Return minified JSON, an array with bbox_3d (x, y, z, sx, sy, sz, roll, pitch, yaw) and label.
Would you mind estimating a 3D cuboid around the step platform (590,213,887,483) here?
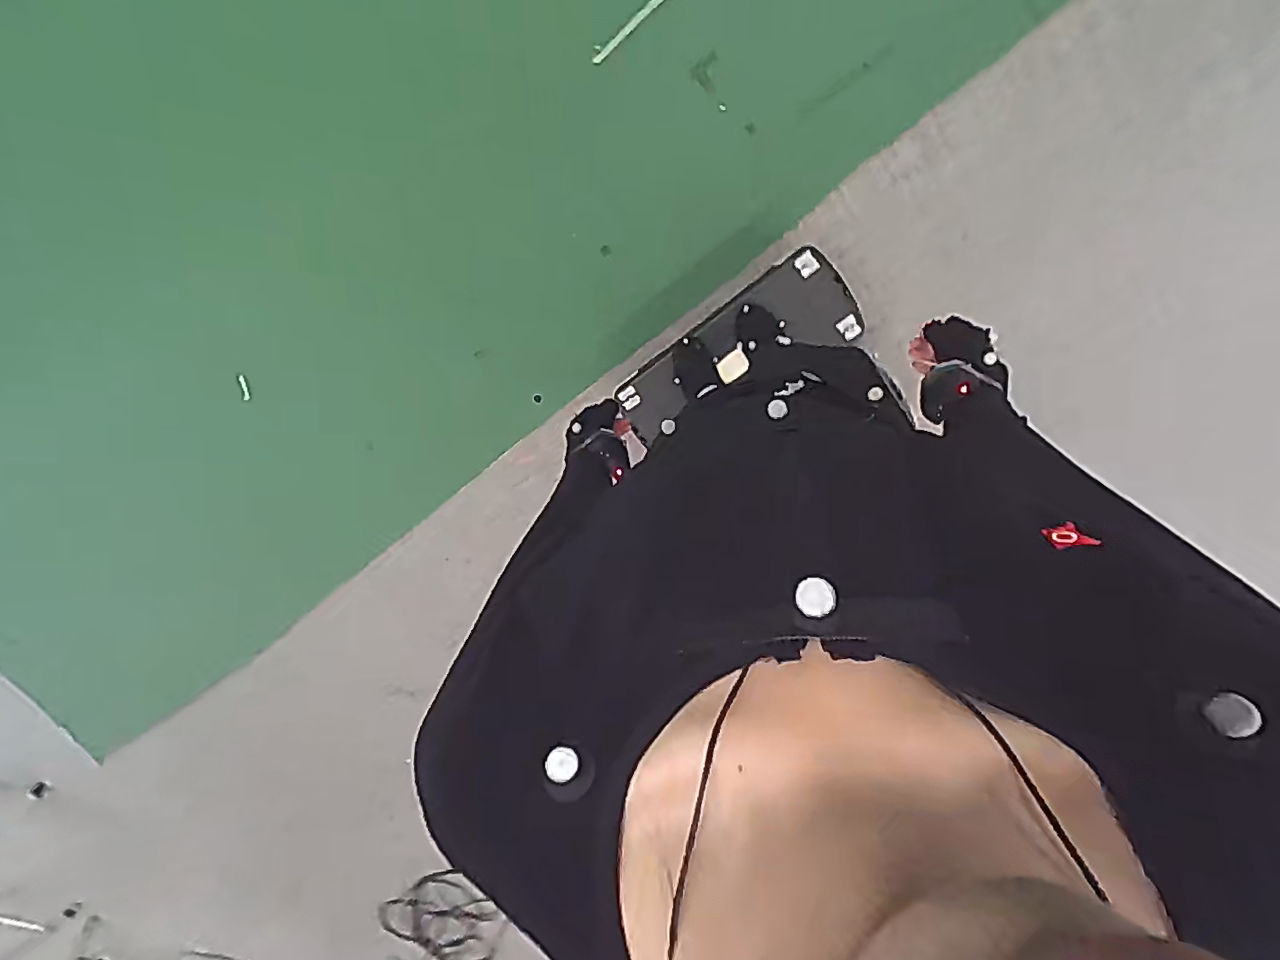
[{"bbox_3d":[0.213,-0.301,1.304,0.684,0.204,0.286,-36,101,14],"label":"step platform"}]
